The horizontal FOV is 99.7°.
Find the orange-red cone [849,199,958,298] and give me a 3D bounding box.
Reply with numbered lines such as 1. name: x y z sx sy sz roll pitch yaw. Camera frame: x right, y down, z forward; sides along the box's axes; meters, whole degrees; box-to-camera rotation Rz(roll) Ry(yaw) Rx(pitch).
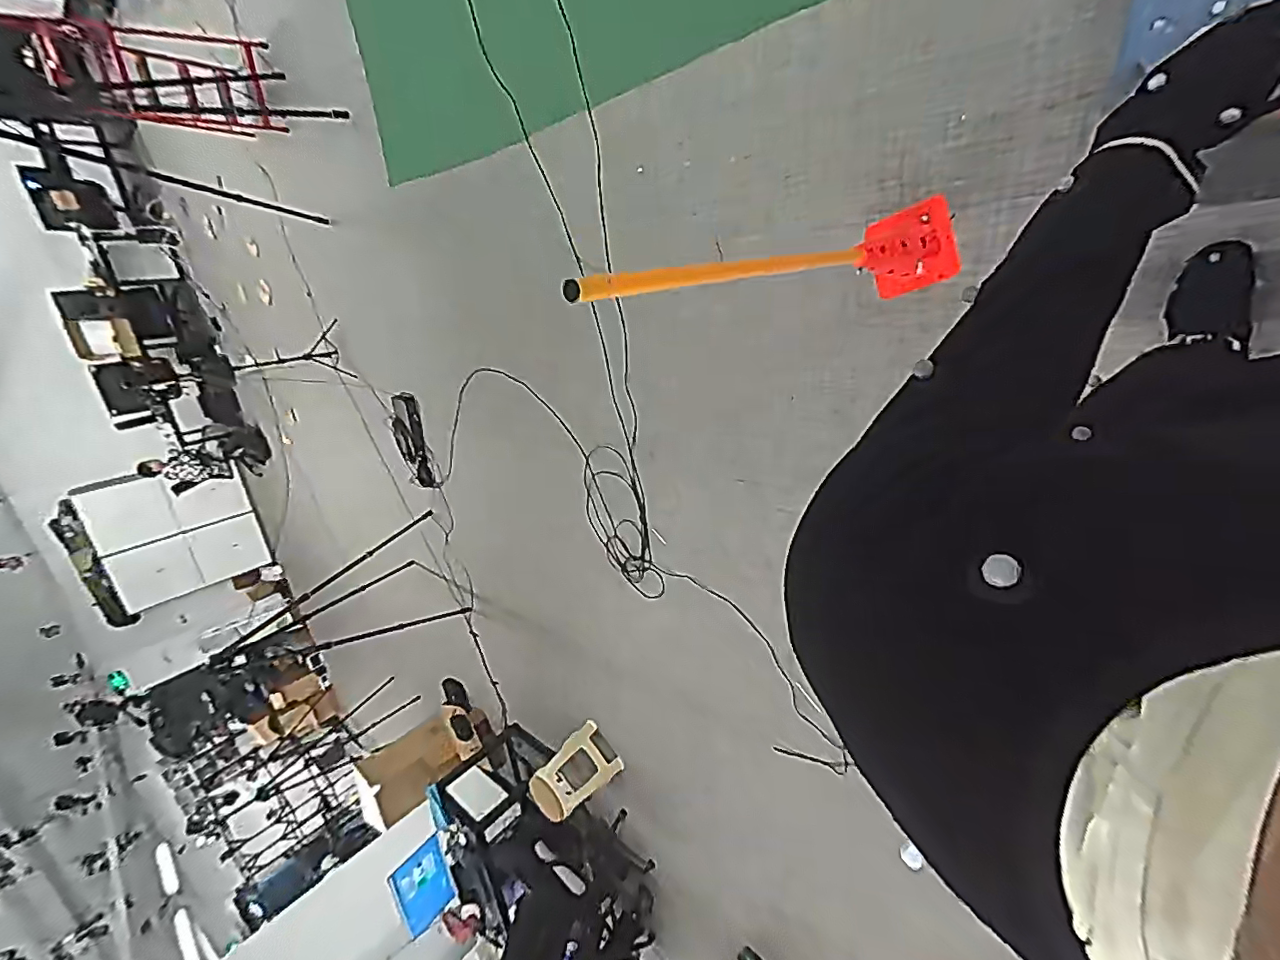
1. orange-red cone: 0.581 -0.532 1.272 0.199 0.360 0.198 -7 103 47
